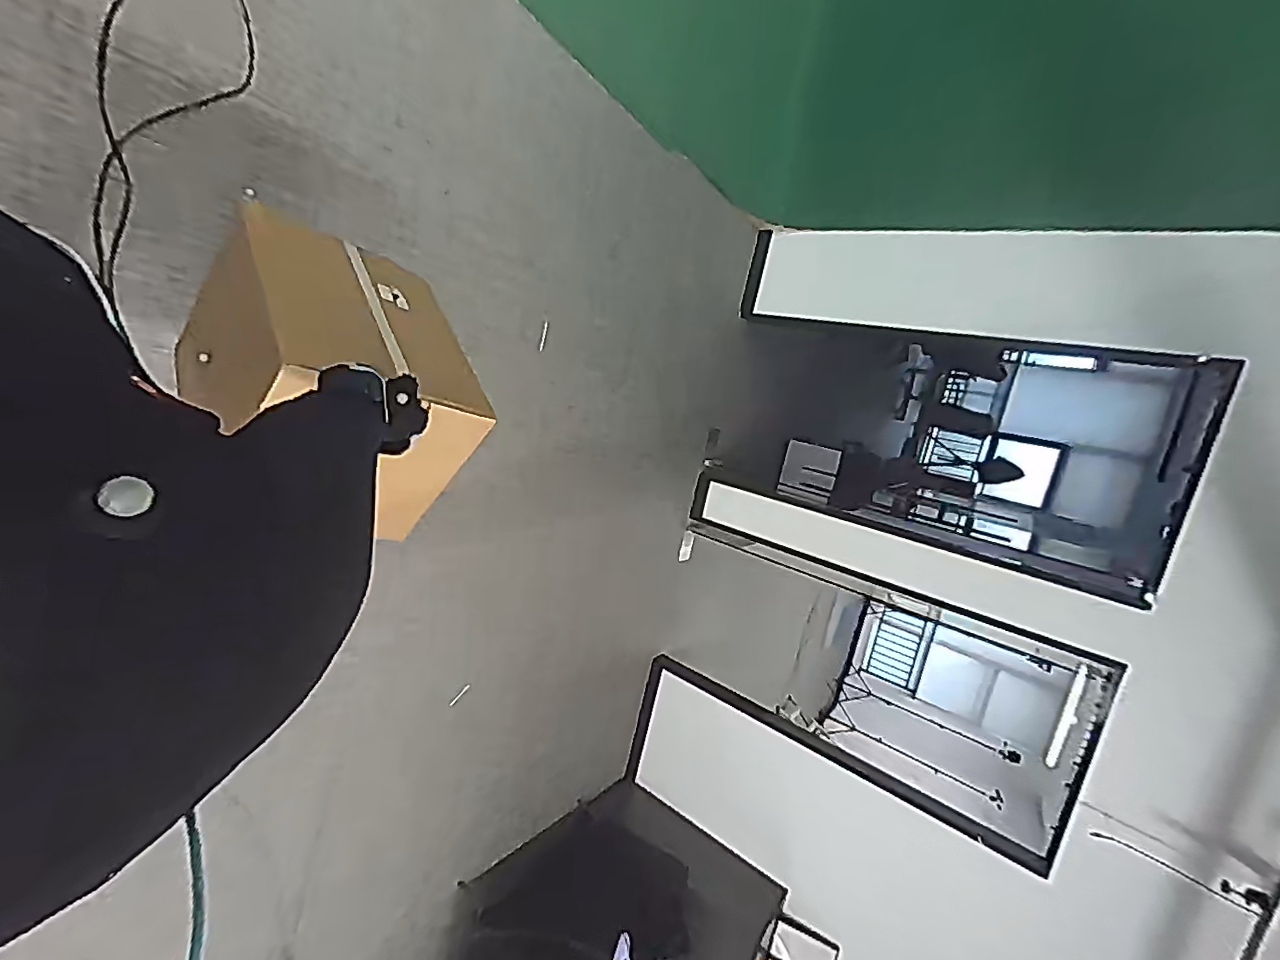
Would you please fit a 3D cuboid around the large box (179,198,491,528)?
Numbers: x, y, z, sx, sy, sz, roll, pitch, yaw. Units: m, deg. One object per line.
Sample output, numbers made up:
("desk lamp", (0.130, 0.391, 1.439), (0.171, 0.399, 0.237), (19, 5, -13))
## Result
("large box", (-0.521, -0.168, 0.907), (0.320, 0.408, 0.320), (-46, 150, 21))
